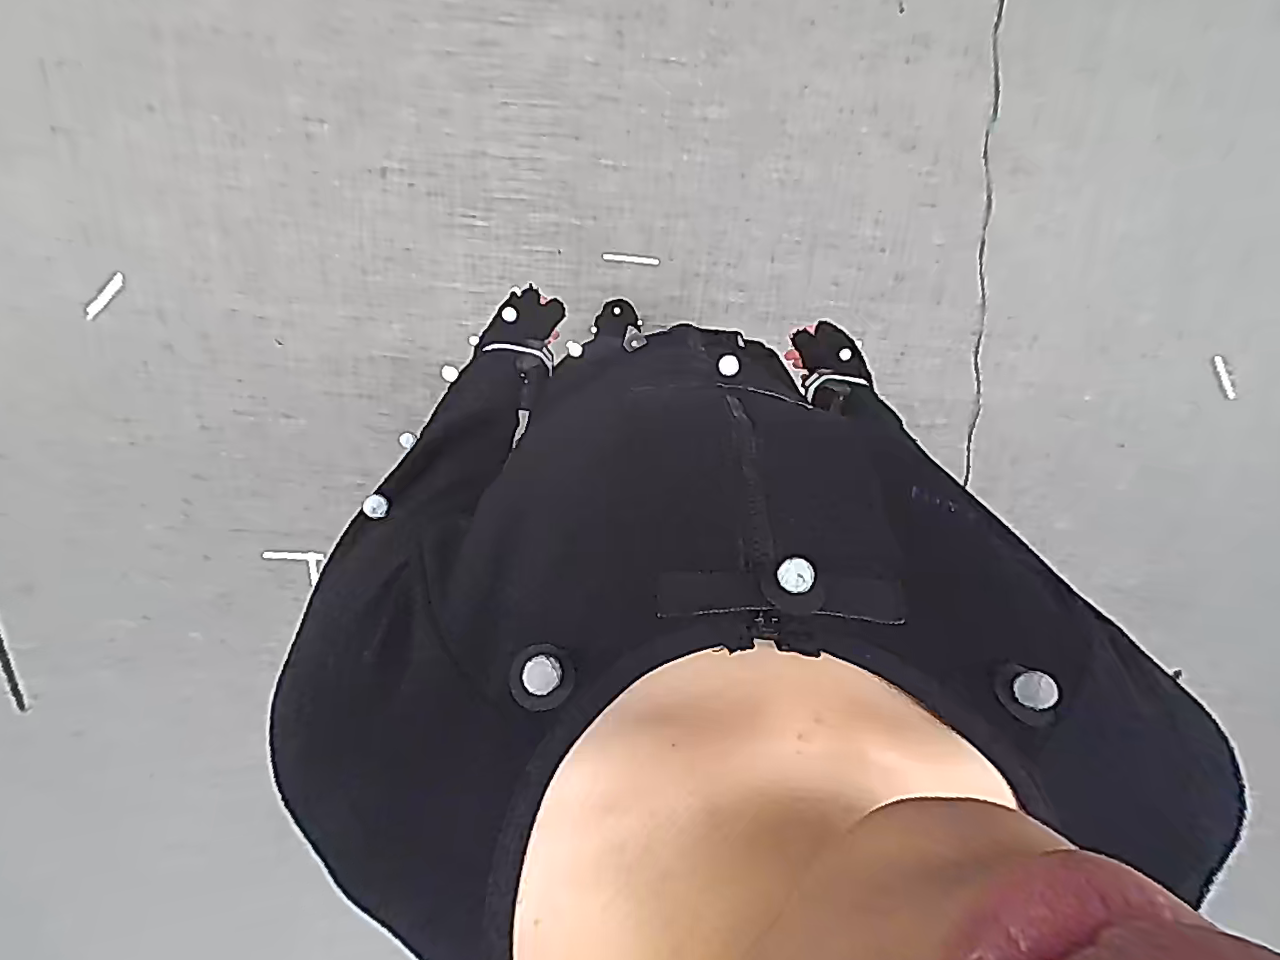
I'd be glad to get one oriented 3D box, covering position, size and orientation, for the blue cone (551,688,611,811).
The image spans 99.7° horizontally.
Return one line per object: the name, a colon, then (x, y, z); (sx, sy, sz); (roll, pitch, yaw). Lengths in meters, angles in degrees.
blue cone: (-0.191, 0.800, 1.592); (0.192, 0.380, 0.193); (1, 107, 0)
